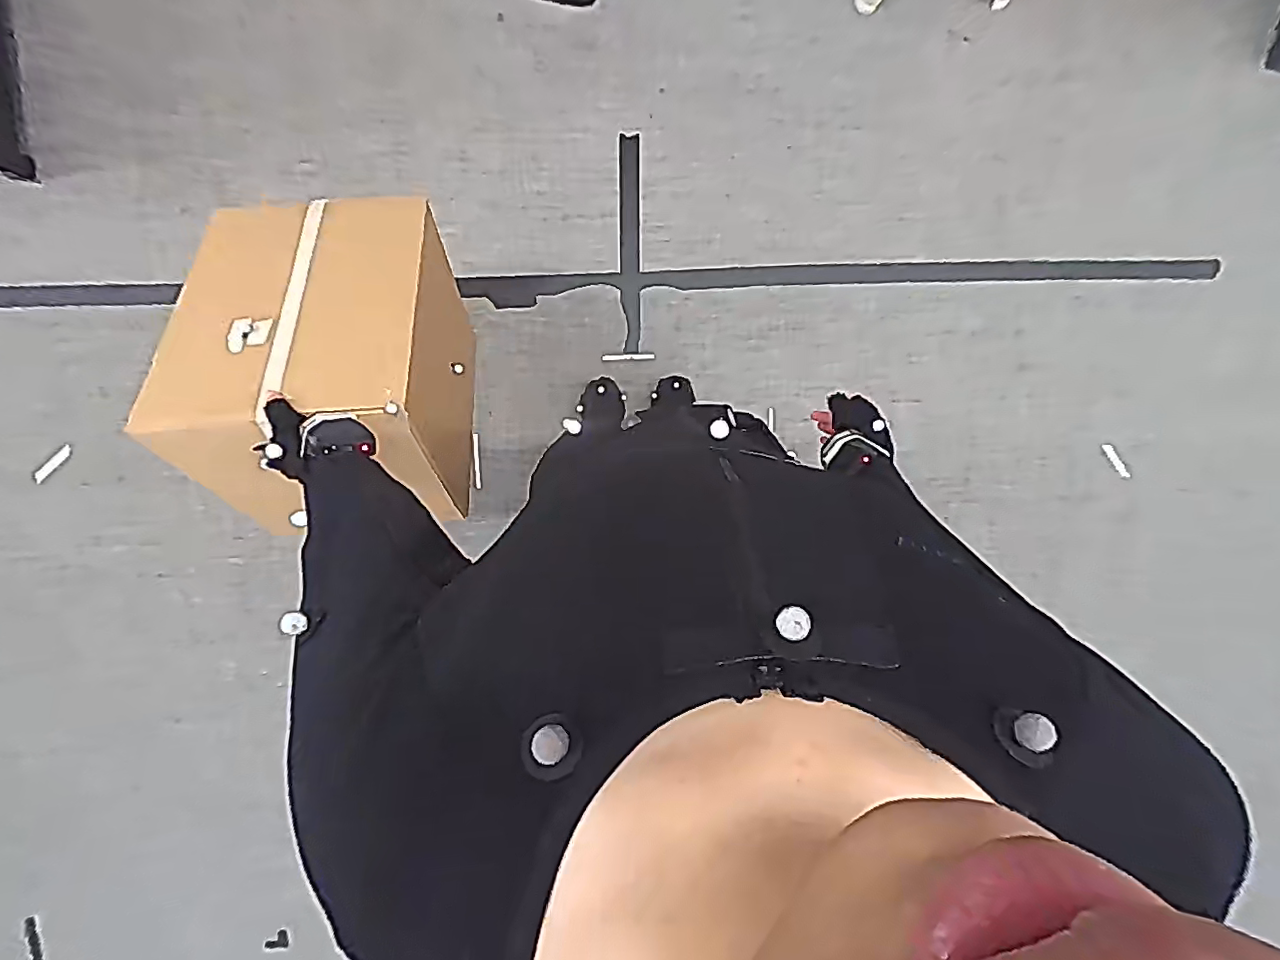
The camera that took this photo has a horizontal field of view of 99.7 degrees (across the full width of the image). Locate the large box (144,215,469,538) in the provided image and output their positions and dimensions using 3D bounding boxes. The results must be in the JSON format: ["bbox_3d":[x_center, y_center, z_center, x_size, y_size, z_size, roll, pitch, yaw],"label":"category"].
[{"bbox_3d":[-0.467,-0.161,0.872,0.320,0.320,0.408,-6,61,-4],"label":"large box"}]
